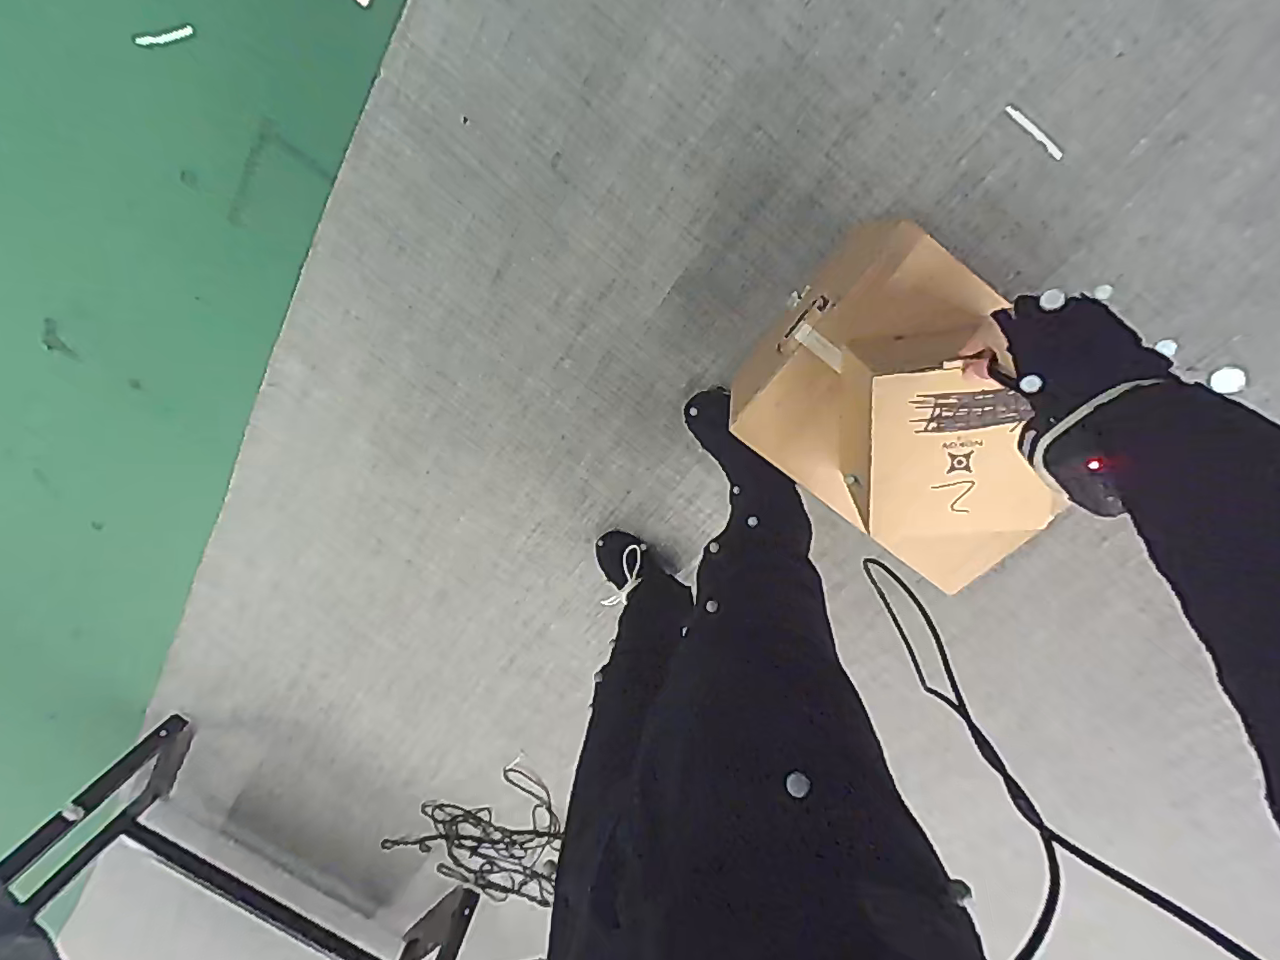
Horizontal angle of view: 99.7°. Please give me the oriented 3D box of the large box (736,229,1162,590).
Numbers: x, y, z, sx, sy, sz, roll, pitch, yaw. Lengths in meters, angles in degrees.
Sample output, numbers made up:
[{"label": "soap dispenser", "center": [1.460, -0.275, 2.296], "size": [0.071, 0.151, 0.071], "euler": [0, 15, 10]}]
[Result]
[{"label": "large box", "center": [0.393, -0.122, 0.810], "size": [0.408, 0.320, 0.320], "euler": [35, 116, -7]}]
